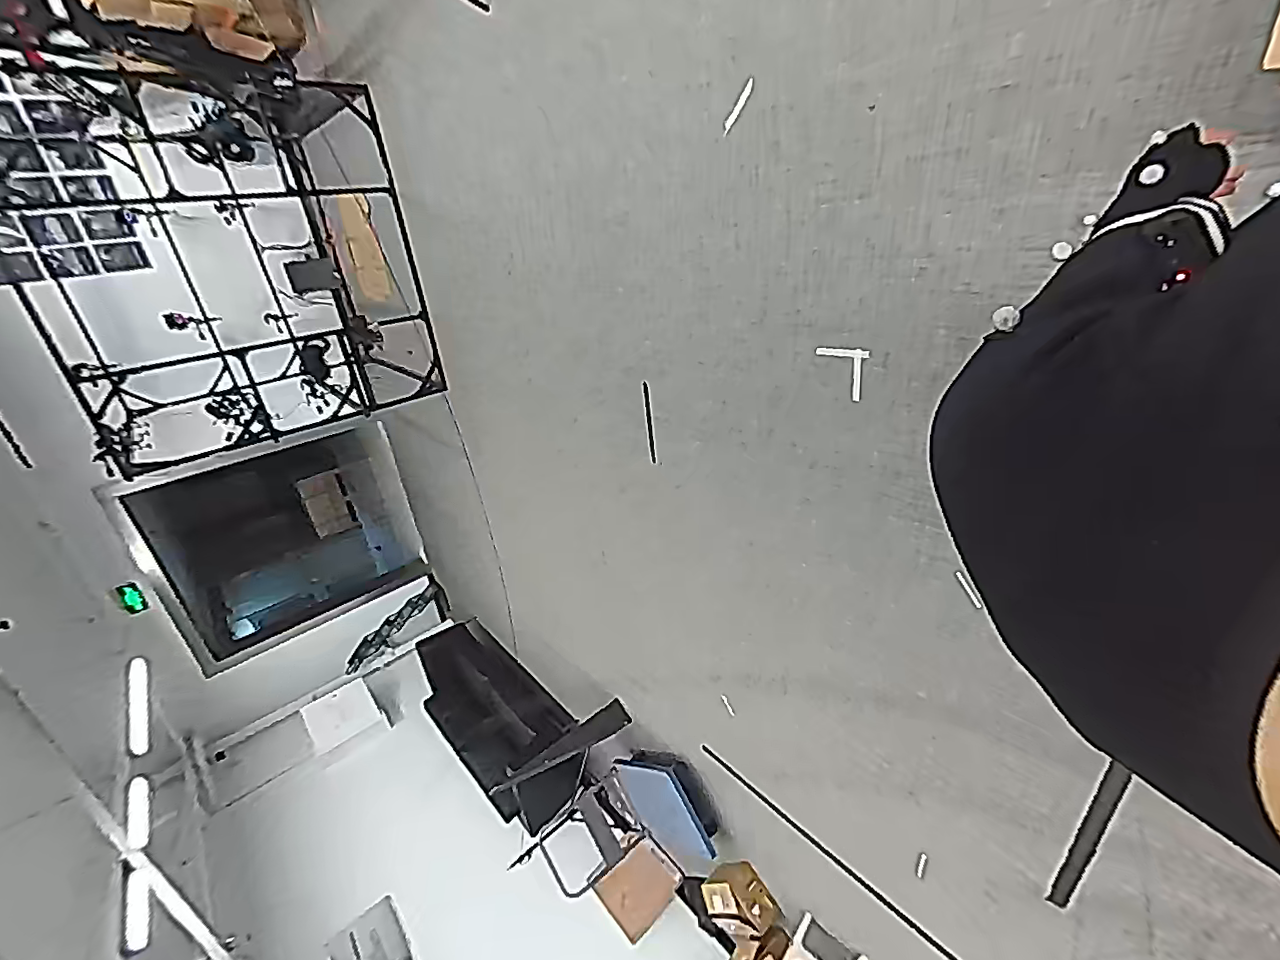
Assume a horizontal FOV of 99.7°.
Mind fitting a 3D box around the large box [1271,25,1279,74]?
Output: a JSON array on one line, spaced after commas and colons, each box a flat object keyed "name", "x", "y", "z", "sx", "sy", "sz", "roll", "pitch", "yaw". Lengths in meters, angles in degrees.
[{"name": "large box", "x": 1.042, "y": -0.683, "z": 0.589, "sx": 0.408, "sy": 0.320, "sz": 0.320, "roll": 21, "pitch": 127, "yaw": 44}]
